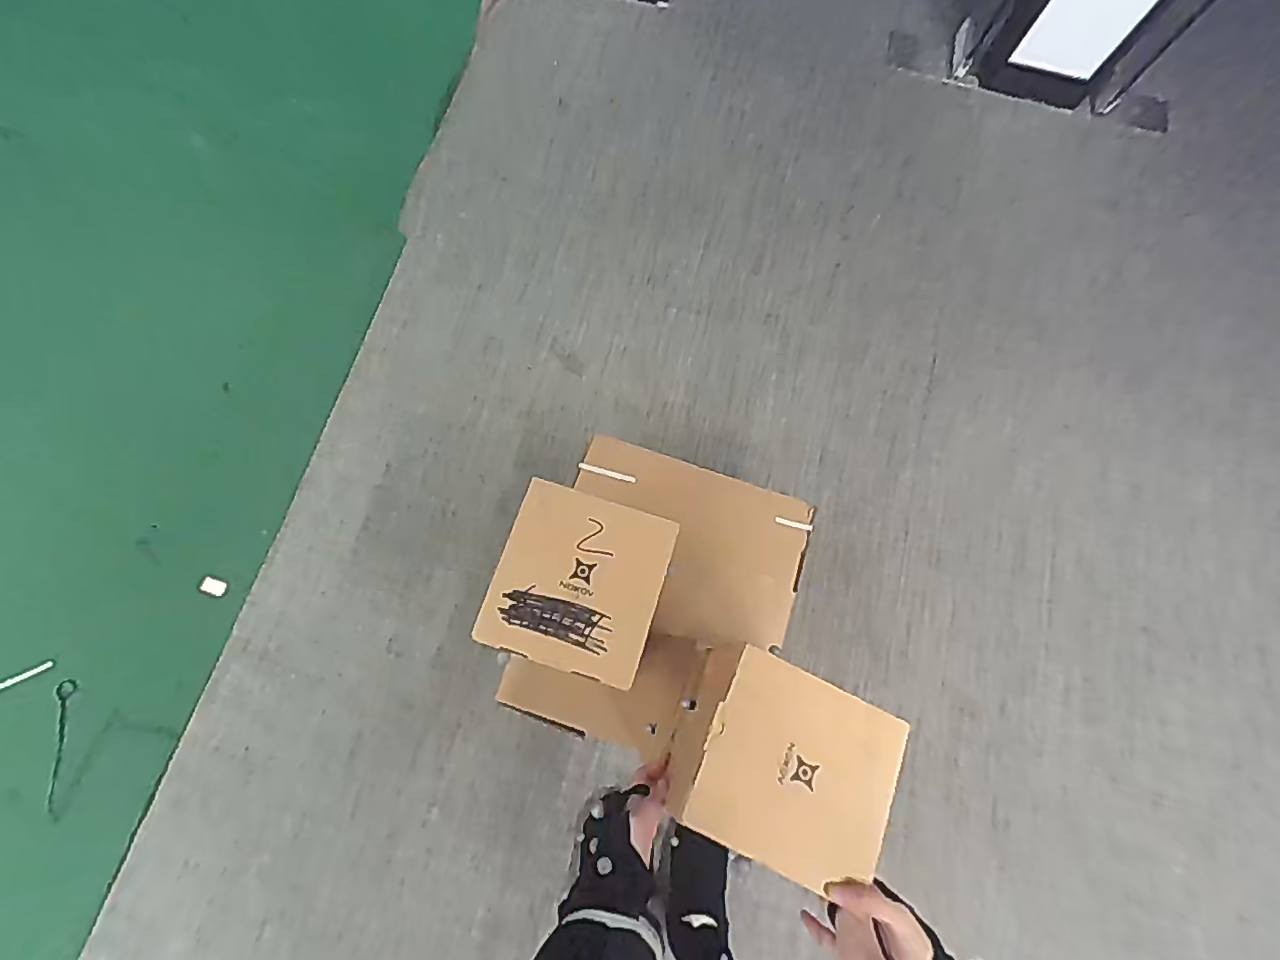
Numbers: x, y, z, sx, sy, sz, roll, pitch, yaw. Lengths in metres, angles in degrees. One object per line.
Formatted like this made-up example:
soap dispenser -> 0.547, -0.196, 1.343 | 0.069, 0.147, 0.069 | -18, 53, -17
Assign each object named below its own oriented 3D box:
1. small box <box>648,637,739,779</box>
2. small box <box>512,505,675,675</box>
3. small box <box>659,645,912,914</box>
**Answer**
small box -> 0.117, 0.329, 0.742 | 0.168, 0.176, 0.179 | 22, 74, 1
small box -> -0.063, 0.161, 0.778 | 0.168, 0.176, 0.179 | 21, 74, 4
small box -> 0.136, 0.286, 0.556 | 0.179, 0.176, 0.168 | 25, 68, 4
